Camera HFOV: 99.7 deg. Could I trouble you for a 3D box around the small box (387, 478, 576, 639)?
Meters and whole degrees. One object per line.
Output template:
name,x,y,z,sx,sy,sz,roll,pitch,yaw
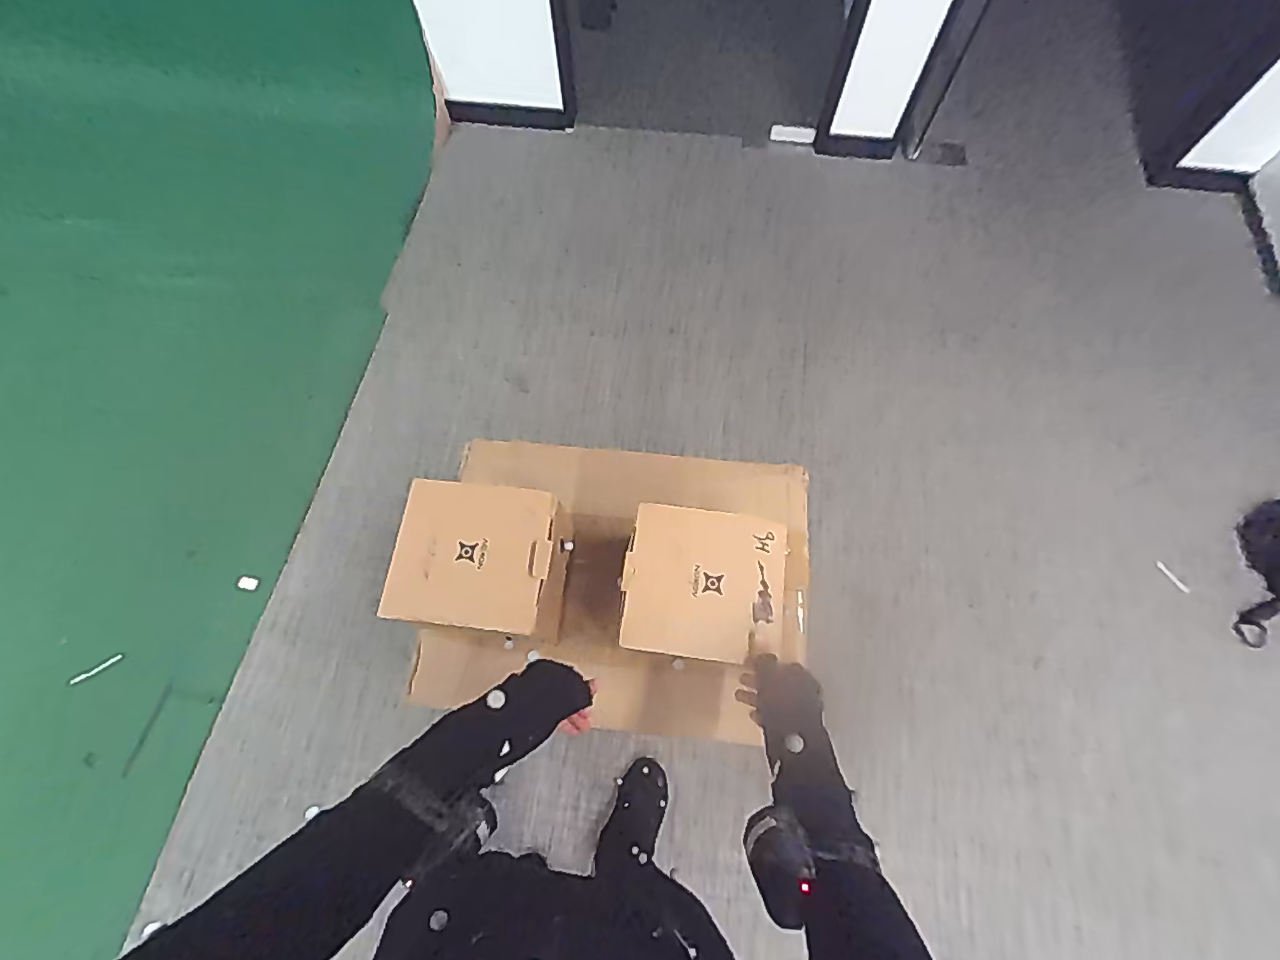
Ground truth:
small box,-0.183,0.108,0.692,0.179,0.176,0.168,4,69,3
